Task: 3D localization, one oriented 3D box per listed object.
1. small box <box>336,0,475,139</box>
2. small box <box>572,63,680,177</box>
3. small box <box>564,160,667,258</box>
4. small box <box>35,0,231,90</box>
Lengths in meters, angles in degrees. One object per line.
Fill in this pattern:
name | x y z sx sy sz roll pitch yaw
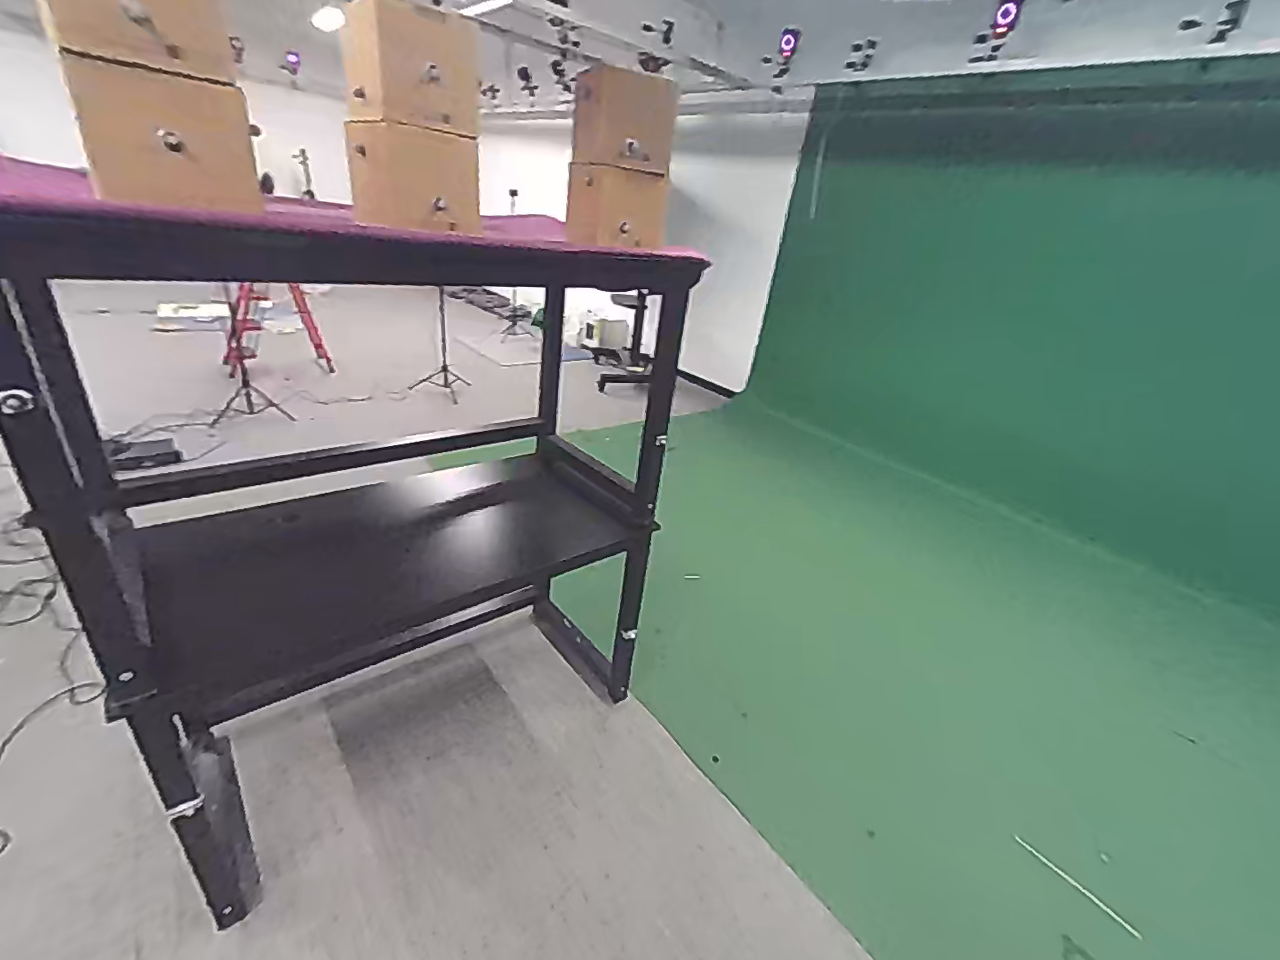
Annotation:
small box | -0.392 -0.689 0.917 0.168 0.176 0.179 -17 36 -40
small box | -0.038 -0.744 1.130 0.168 0.176 0.179 -8 33 -25
small box | -0.063 -0.605 1.210 0.168 0.176 0.179 -9 32 -29
small box | -0.629 -0.595 0.659 0.168 0.176 0.179 -18 36 -41
